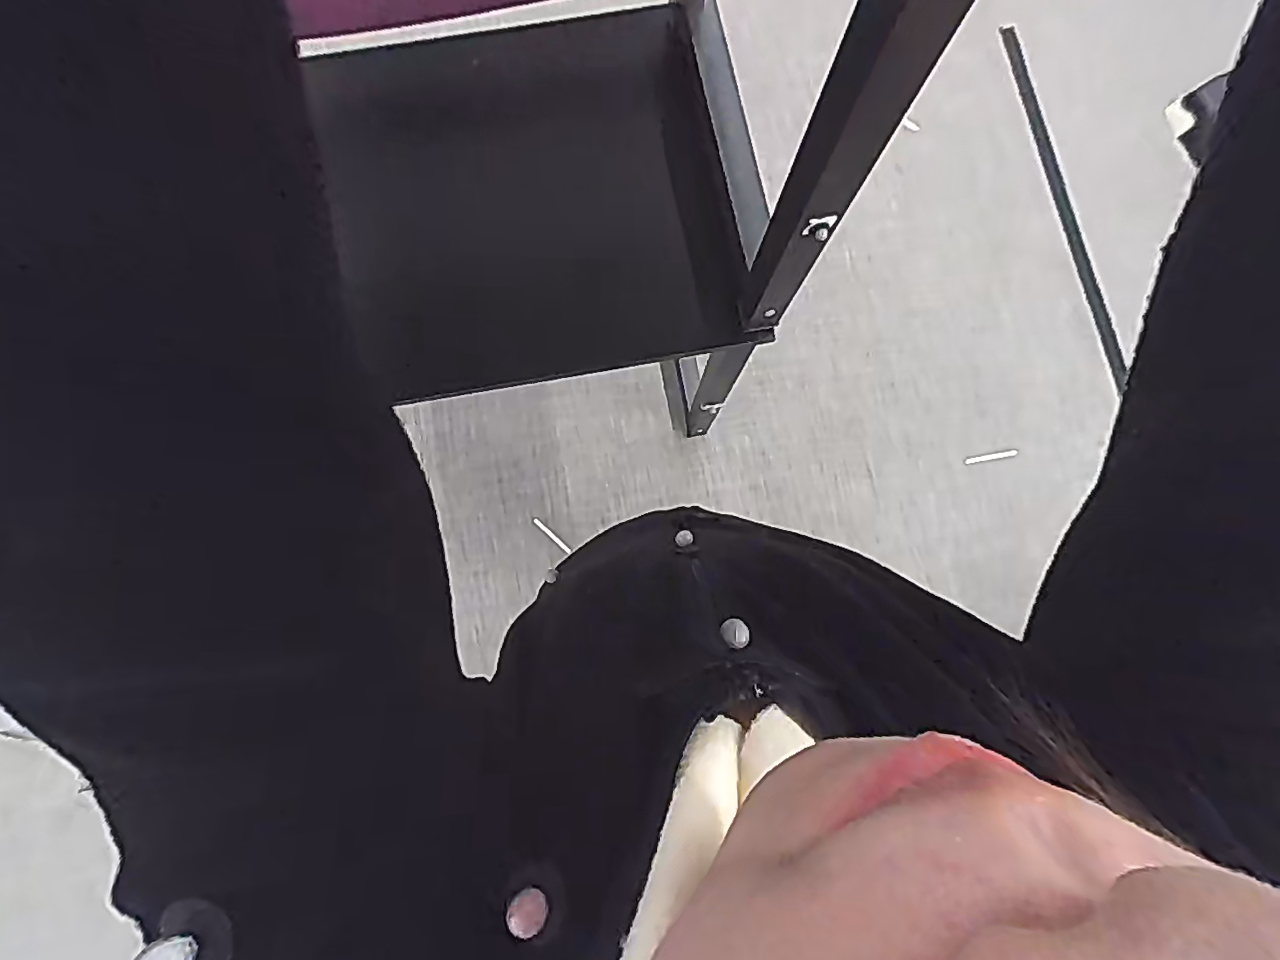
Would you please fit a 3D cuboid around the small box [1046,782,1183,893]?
[{"bbox_3d":[1.172,0.879,1.347,0.179,0.176,0.168,-9,83,-2],"label":"small box"}]
